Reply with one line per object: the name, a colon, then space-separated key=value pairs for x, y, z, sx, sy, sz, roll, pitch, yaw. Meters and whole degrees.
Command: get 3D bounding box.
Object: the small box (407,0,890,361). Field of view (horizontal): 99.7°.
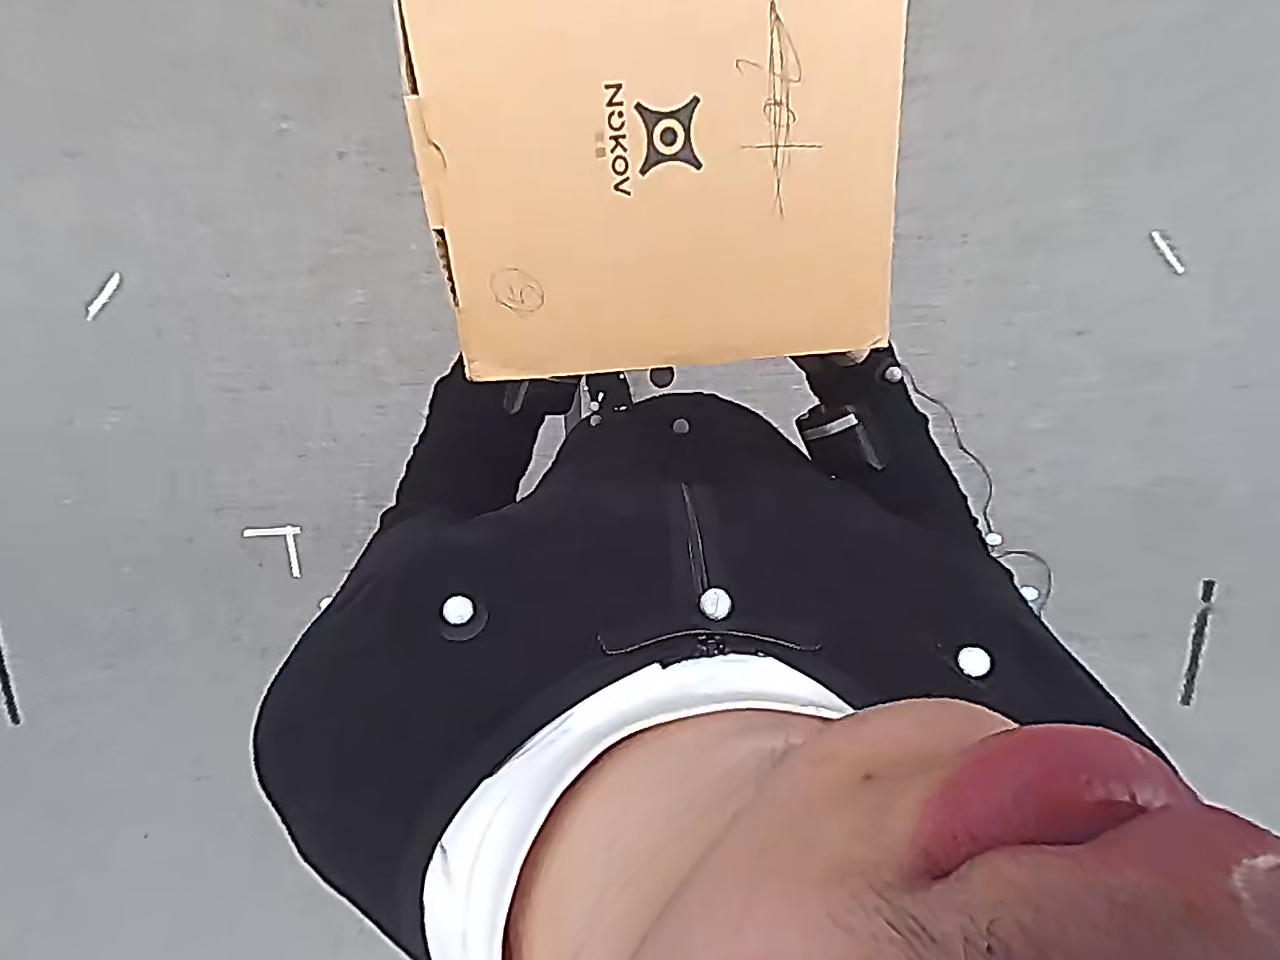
small box: x=0.007 y=-0.160 z=0.283 sx=0.179 sy=0.176 sz=0.168 roll=-5 pitch=110 yaw=2
